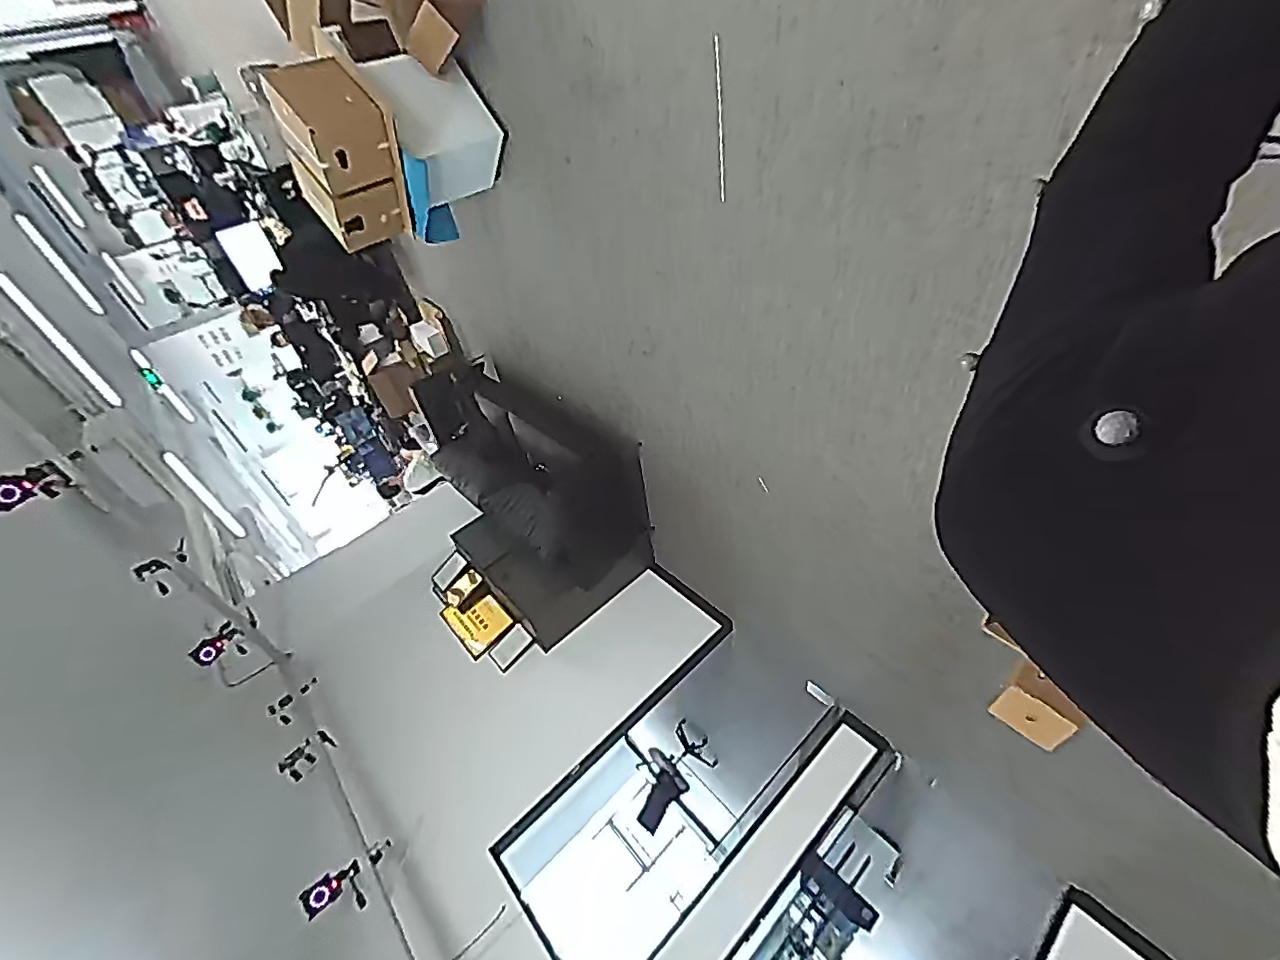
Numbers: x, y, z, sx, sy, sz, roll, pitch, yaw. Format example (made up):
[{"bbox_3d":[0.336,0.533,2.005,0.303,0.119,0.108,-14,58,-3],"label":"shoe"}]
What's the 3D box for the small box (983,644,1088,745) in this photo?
[{"bbox_3d":[1.115,0.599,1.522,0.168,0.176,0.179,35,148,33],"label":"small box"}]
